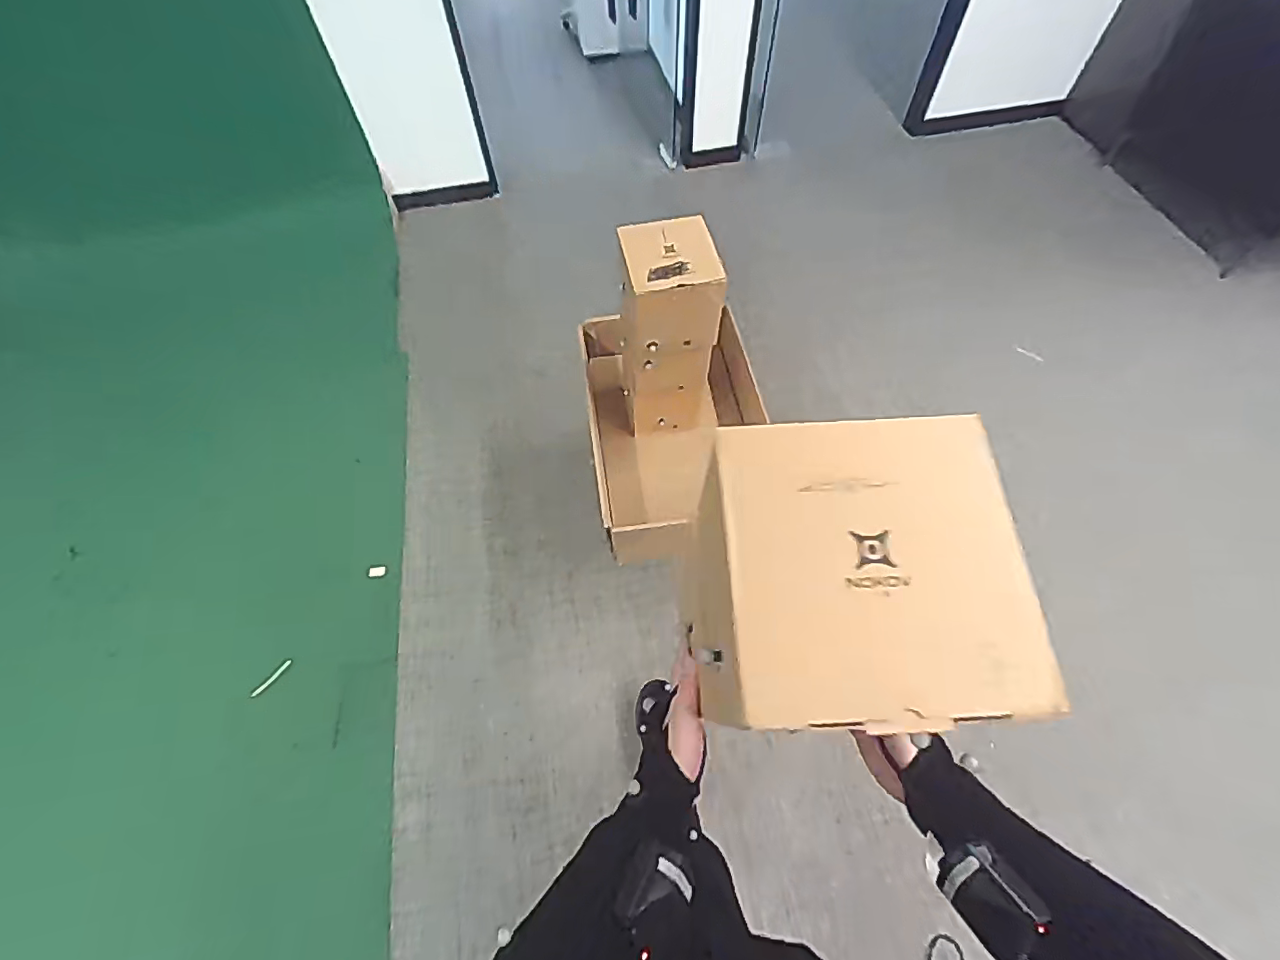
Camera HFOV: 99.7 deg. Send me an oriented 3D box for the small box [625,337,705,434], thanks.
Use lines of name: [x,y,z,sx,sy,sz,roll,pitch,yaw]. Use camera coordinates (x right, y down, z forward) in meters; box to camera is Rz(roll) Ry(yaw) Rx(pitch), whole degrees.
small box: [0.056,-0.238,1.327,0.168,0.176,0.179,-9,63,-4]

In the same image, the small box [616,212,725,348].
small box: [0.054,-0.369,1.025,0.168,0.176,0.179,-11,63,-4]

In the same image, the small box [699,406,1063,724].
small box: [0.131,0.068,0.375,0.168,0.176,0.179,-2,68,1]

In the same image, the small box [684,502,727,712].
small box: [0.133,0.125,0.528,0.168,0.176,0.179,-3,68,0]
